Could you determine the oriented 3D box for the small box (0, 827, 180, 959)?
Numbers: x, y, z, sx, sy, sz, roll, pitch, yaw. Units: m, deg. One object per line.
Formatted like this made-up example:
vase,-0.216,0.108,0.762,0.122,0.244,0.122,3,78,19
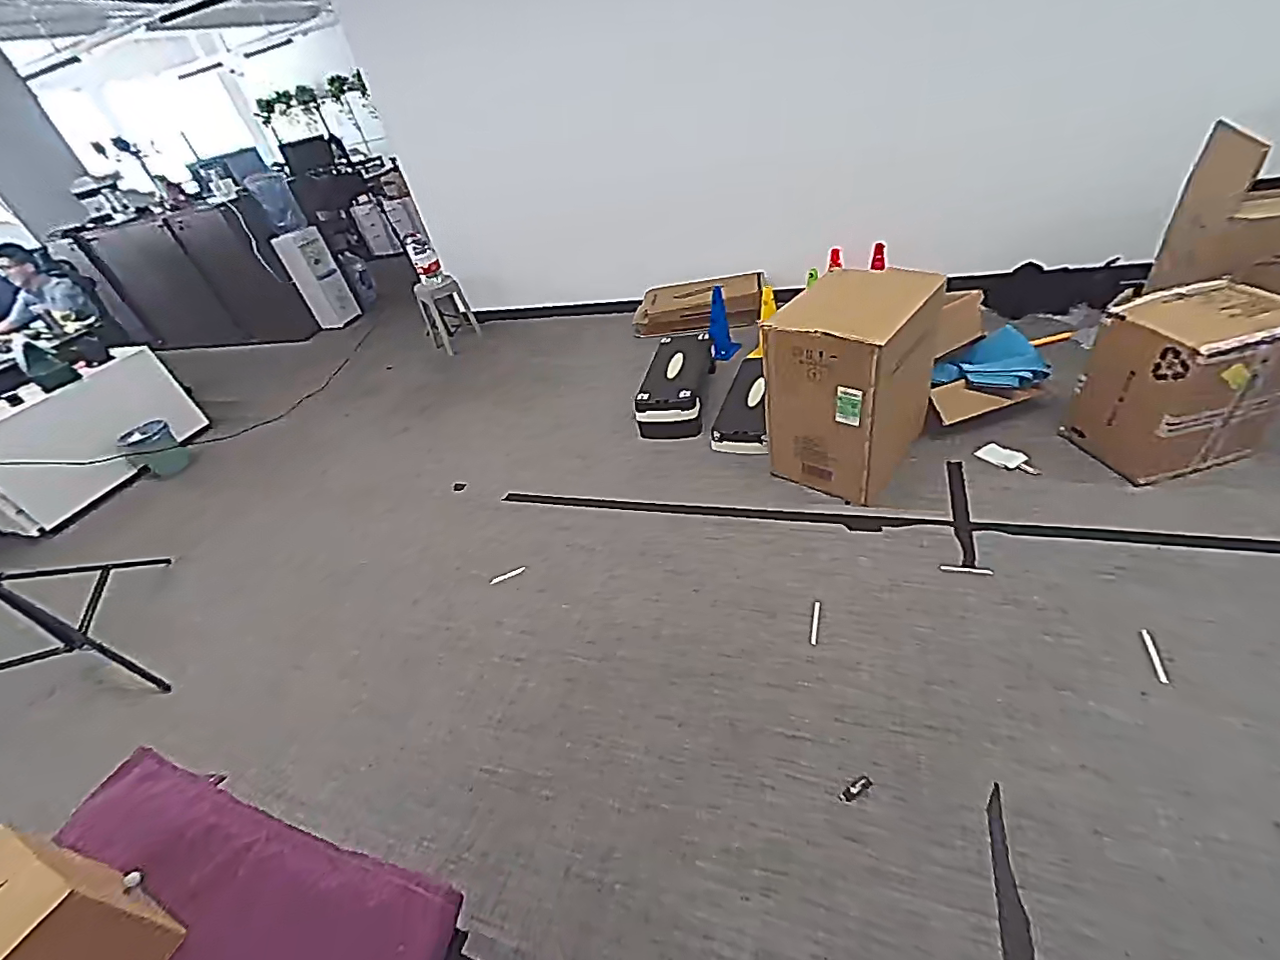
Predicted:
small box,-0.635,0.501,0.542,0.168,0.176,0.179,9,42,24
